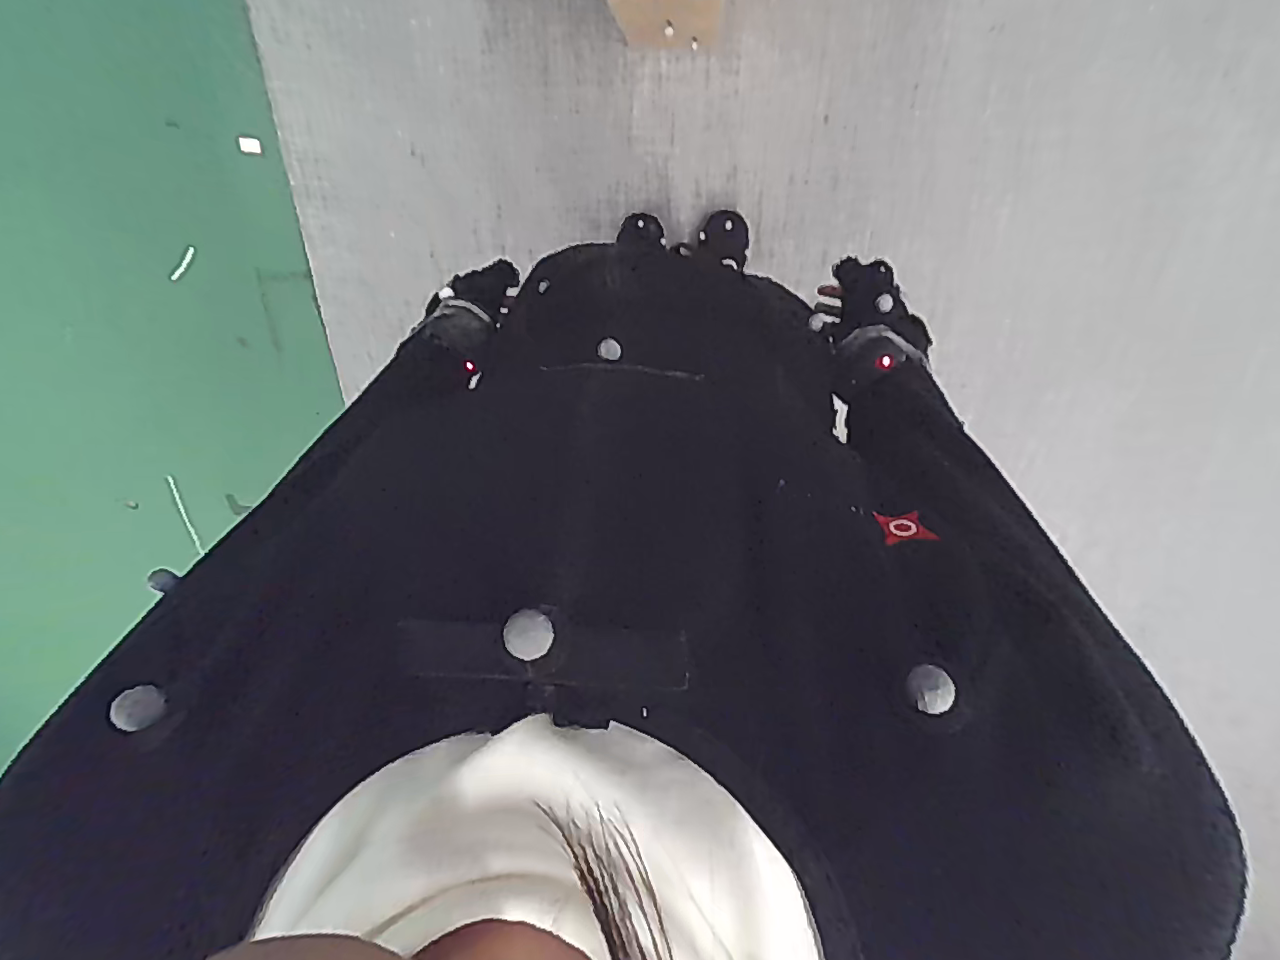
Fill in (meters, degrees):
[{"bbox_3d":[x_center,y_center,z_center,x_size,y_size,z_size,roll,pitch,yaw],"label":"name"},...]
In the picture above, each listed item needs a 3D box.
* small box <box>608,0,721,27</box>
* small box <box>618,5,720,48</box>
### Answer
[{"bbox_3d":[0.044,-0.820,0.826,0.179,0.176,0.168,5,118,3],"label":"small box"},{"bbox_3d":[0.058,-0.898,0.969,0.179,0.176,0.168,4,118,6],"label":"small box"}]
